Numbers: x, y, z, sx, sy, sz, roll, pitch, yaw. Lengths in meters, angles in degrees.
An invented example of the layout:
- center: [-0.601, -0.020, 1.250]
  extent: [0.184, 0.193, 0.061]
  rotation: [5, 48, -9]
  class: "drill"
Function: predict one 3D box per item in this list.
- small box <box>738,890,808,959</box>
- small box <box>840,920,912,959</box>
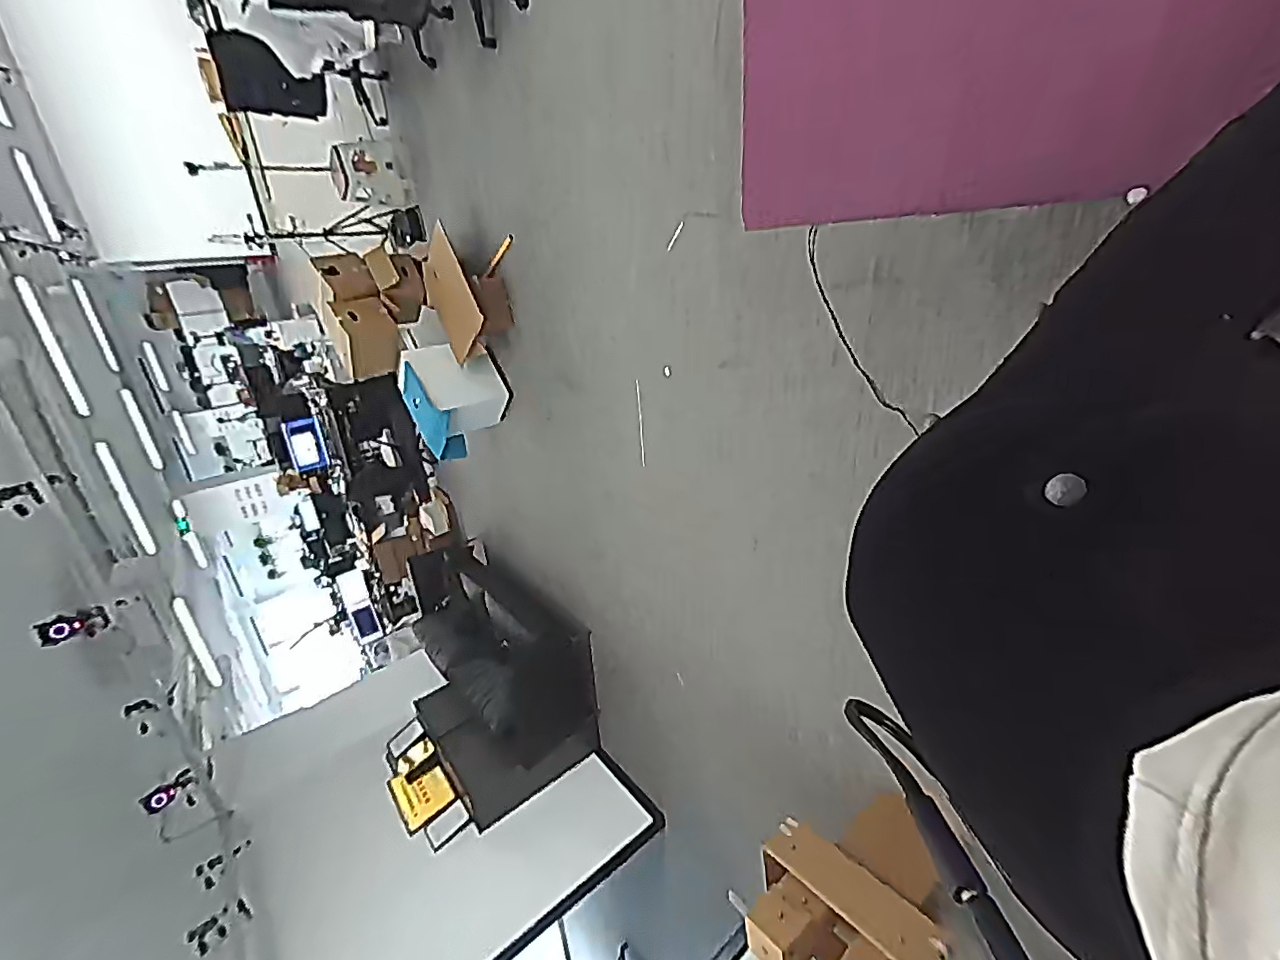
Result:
- center: [0.464, 1.594, 1.880]
  extent: [0.168, 0.176, 0.179]
  rotation: [12, 116, 51]
  class: "small box"
- center: [0.773, 1.606, 1.764]
  extent: [0.168, 0.176, 0.179]
  rotation: [14, 119, 49]
  class: "small box"
